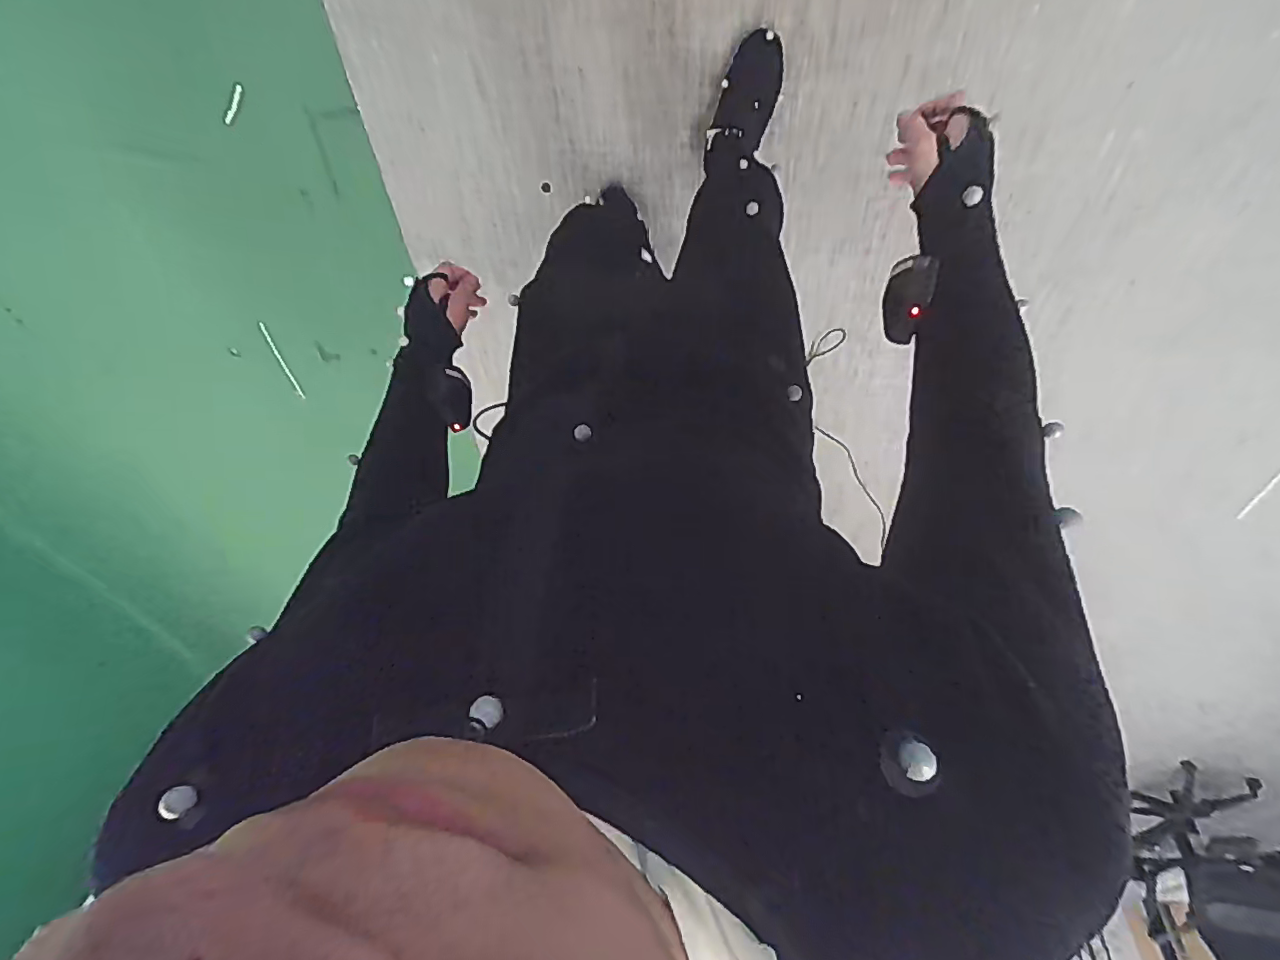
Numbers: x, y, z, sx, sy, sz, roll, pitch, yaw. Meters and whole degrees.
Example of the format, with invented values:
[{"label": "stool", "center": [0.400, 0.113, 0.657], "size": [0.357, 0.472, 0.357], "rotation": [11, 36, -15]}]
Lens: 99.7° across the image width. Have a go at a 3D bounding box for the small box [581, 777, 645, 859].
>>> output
[{"label": "small box", "center": [-0.080, 1.060, 1.699], "size": [0.168, 0.176, 0.179], "rotation": [6, 134, 9]}]
